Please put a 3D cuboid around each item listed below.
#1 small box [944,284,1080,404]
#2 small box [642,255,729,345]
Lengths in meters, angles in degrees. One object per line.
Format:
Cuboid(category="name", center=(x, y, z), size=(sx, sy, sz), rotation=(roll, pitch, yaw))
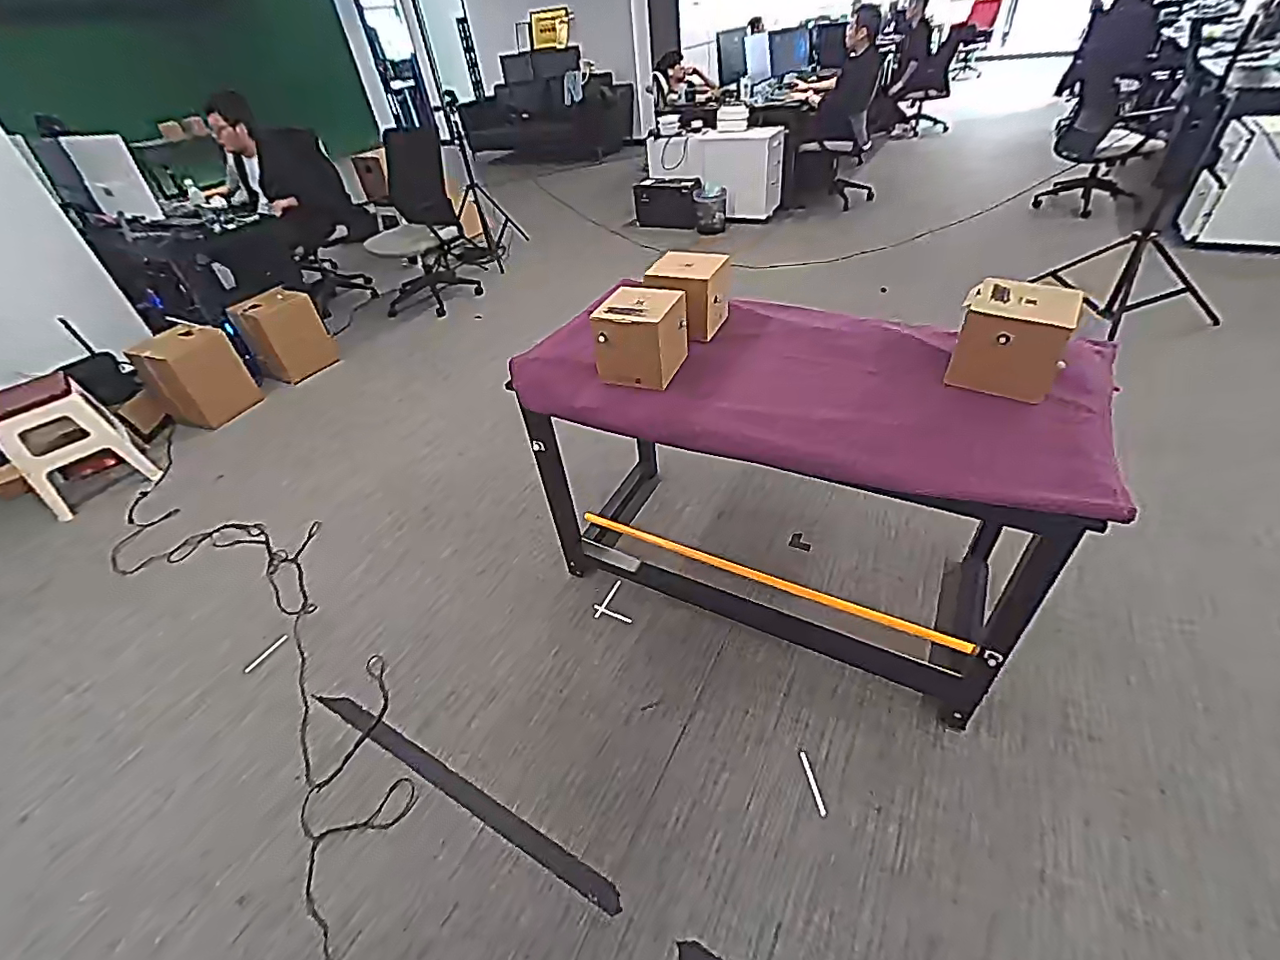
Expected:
Cuboid(category="small box", center=(0.748, -0.276, 1.101), size=(0.179, 0.176, 0.168), rotation=(22, 50, 28))
Cuboid(category="small box", center=(0.124, -0.473, 1.423), size=(0.179, 0.176, 0.168), rotation=(14, 45, 22))
